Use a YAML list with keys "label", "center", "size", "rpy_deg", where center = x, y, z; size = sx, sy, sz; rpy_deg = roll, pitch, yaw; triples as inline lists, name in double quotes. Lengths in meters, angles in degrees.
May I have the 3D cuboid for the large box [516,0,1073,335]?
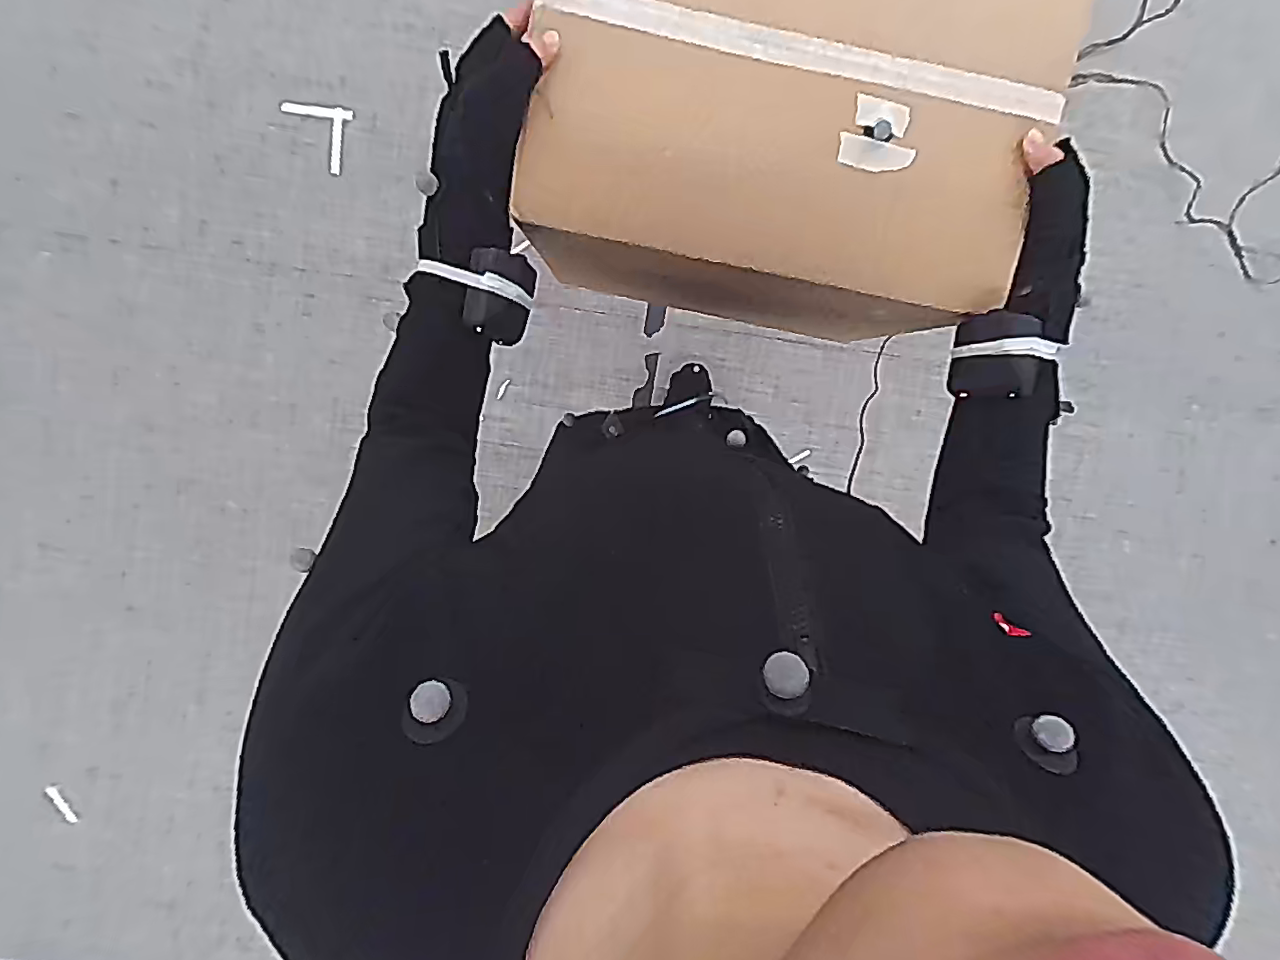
- label: "large box"
  center: [0.113, -0.348, 0.560]
  size: [0.408, 0.320, 0.320]
  rpy_deg: [10, 102, -4]
